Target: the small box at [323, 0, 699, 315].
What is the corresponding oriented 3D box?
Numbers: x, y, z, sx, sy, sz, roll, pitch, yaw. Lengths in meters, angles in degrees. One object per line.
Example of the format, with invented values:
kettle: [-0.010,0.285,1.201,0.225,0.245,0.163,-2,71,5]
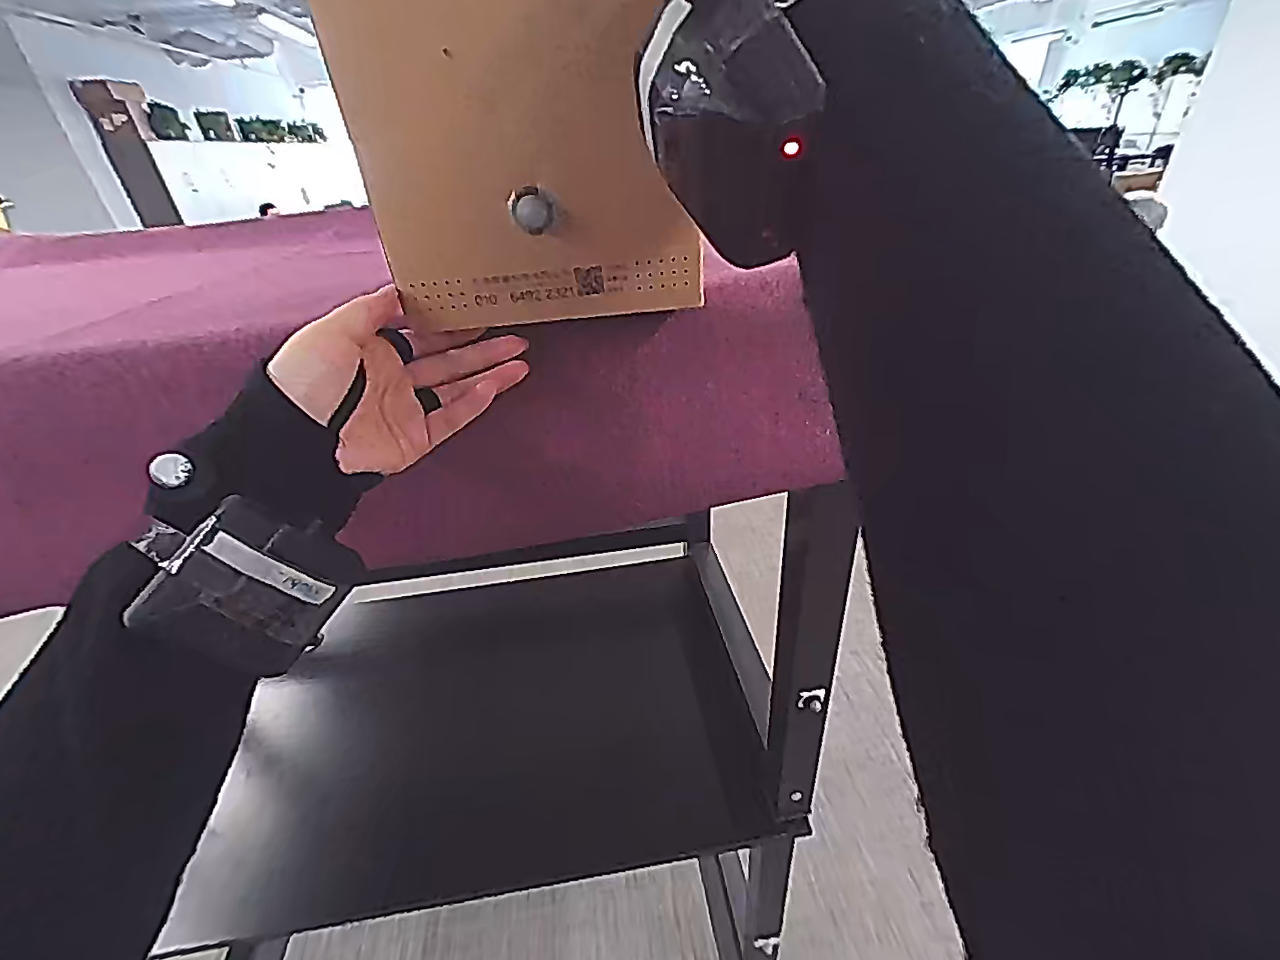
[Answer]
small box: [-0.056,-0.206,0.323,0.168,0.176,0.179,-5,32,1]
